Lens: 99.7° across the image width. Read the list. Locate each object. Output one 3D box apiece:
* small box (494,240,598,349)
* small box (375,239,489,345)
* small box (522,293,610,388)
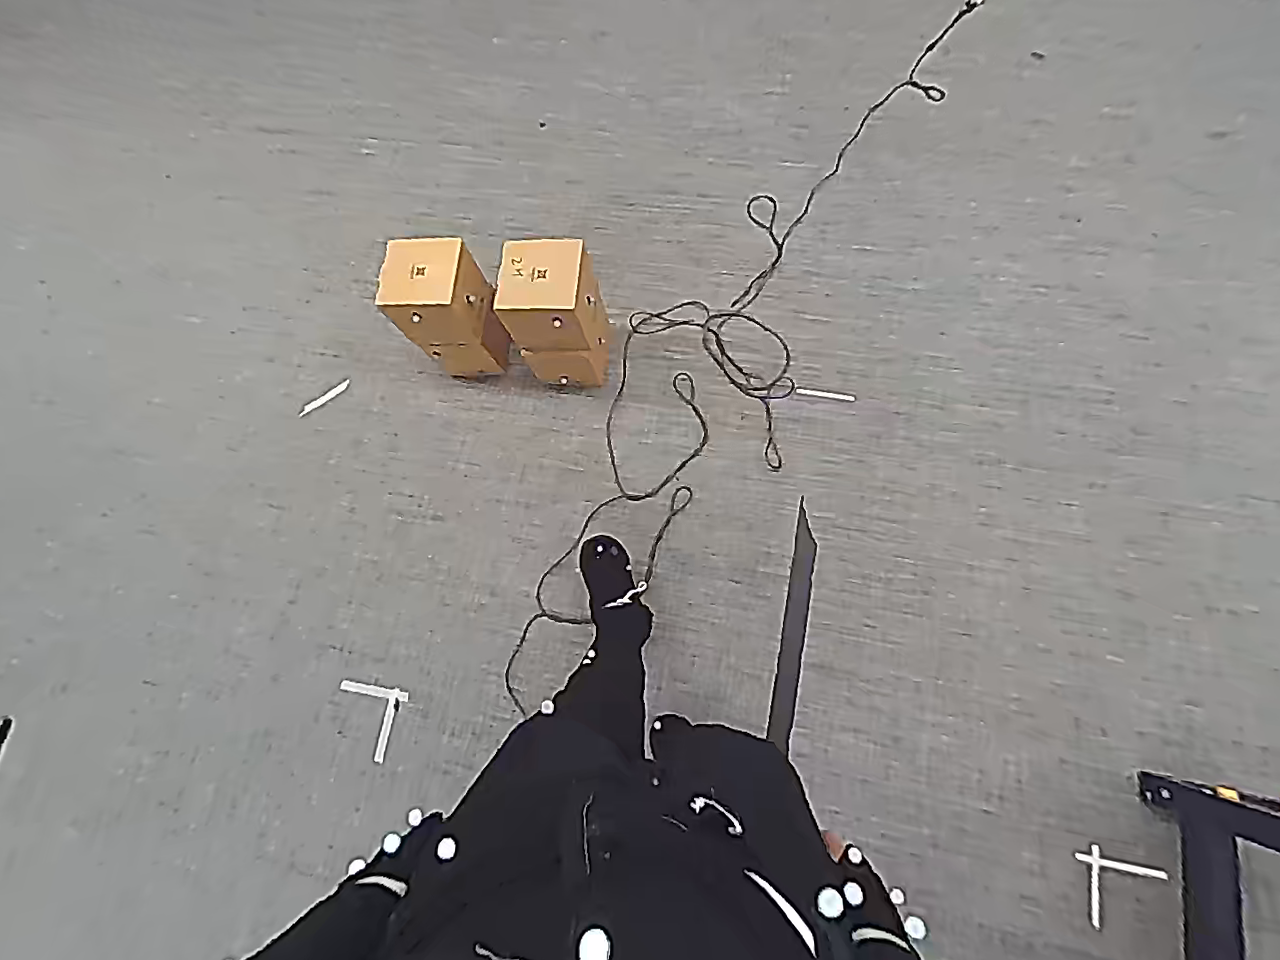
[{"bbox_3d":[-0.196,-0.399,1.183,0.179,0.176,0.168,3,75,9],"label":"small box"},{"bbox_3d":[-0.460,-0.420,1.227,0.179,0.176,0.168,1,75,8],"label":"small box"},{"bbox_3d":[-0.175,-0.345,1.338,0.168,0.176,0.179,5,76,9],"label":"small box"}]
